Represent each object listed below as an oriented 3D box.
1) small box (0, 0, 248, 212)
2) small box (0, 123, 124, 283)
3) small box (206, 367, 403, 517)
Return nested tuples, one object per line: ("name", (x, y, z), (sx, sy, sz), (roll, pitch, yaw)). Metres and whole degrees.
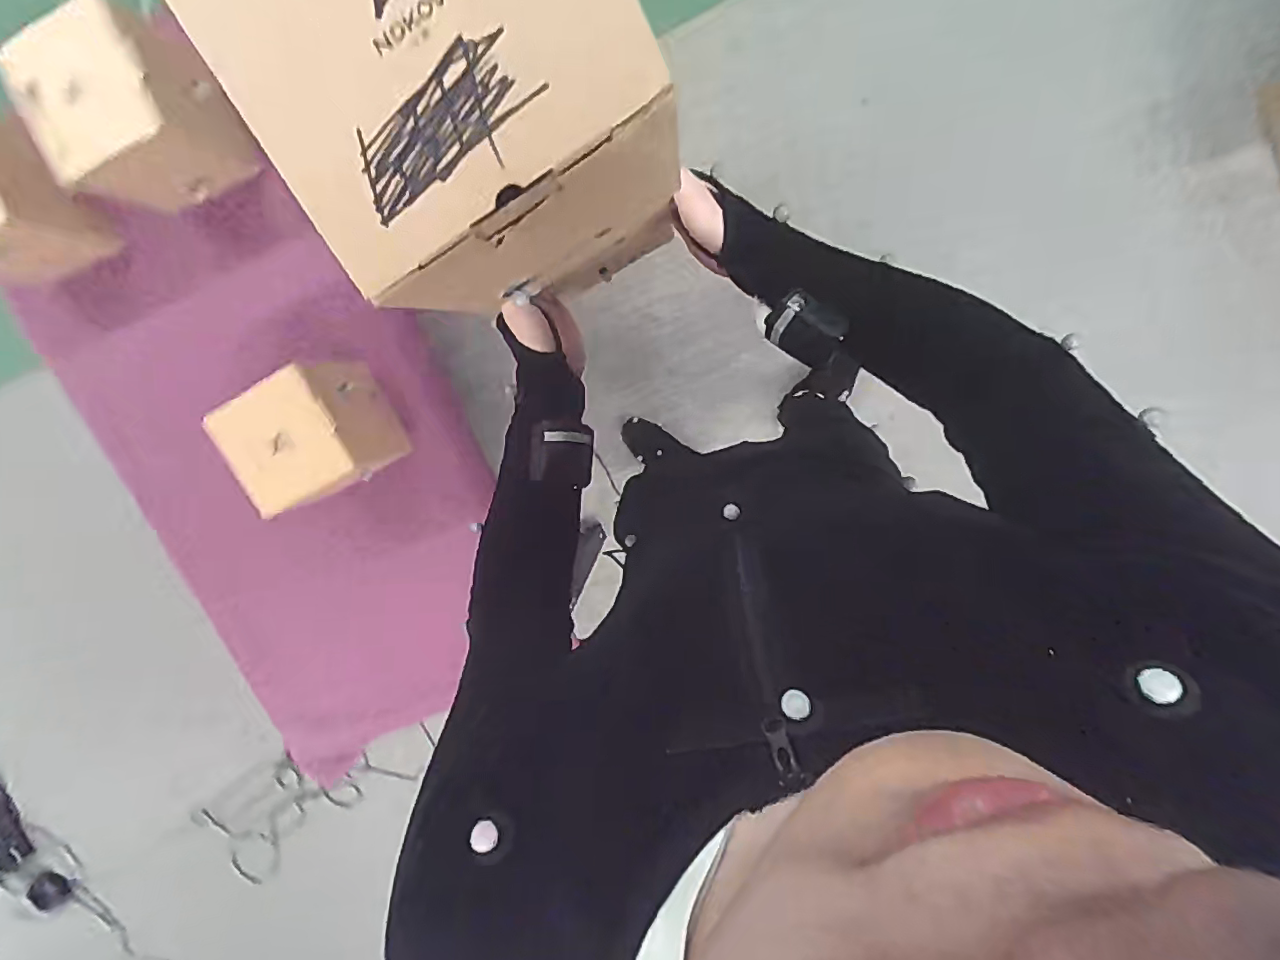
("small box", (-0.706, -0.509, 0.767), (0.179, 0.176, 0.168), (-18, 101, 11))
("small box", (-0.961, -0.413, 0.817), (0.179, 0.176, 0.168), (-18, 102, 9))
("small box", (-0.507, -0.069, 0.852), (0.179, 0.176, 0.168), (-26, 99, 12))
